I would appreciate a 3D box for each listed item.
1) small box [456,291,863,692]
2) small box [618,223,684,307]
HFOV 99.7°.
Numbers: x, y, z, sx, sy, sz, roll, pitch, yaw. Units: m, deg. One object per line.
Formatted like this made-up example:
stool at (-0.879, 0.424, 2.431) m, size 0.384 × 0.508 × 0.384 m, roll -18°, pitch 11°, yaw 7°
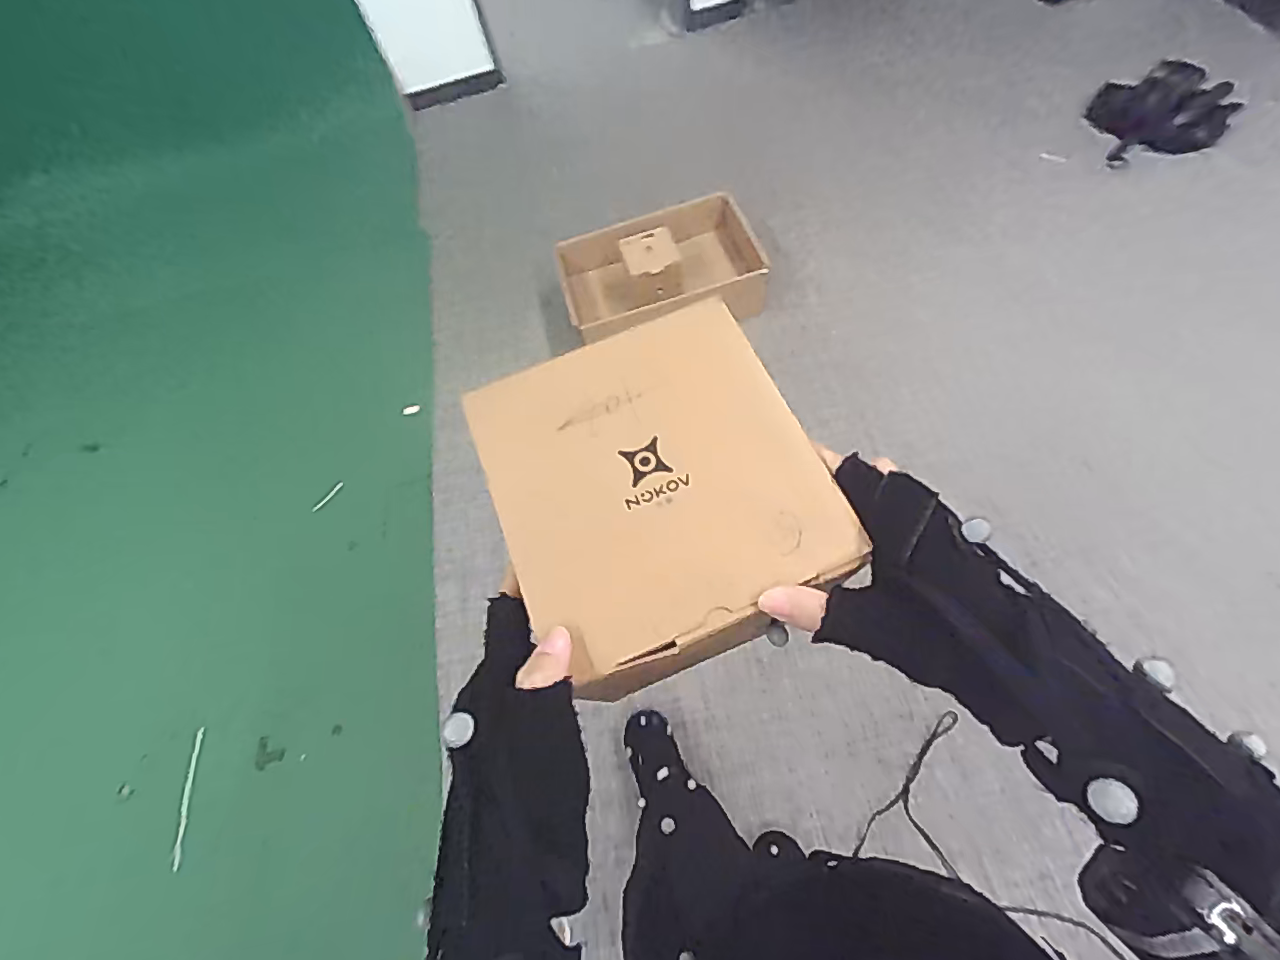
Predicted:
small box at (0.011, 0.021, 0.359) m, size 0.168 × 0.176 × 0.179 m, roll -26°, pitch 68°, yaw -4°
small box at (0.041, -0.689, 1.759) m, size 0.168 × 0.176 × 0.179 m, roll -17°, pitch 62°, yaw 1°
